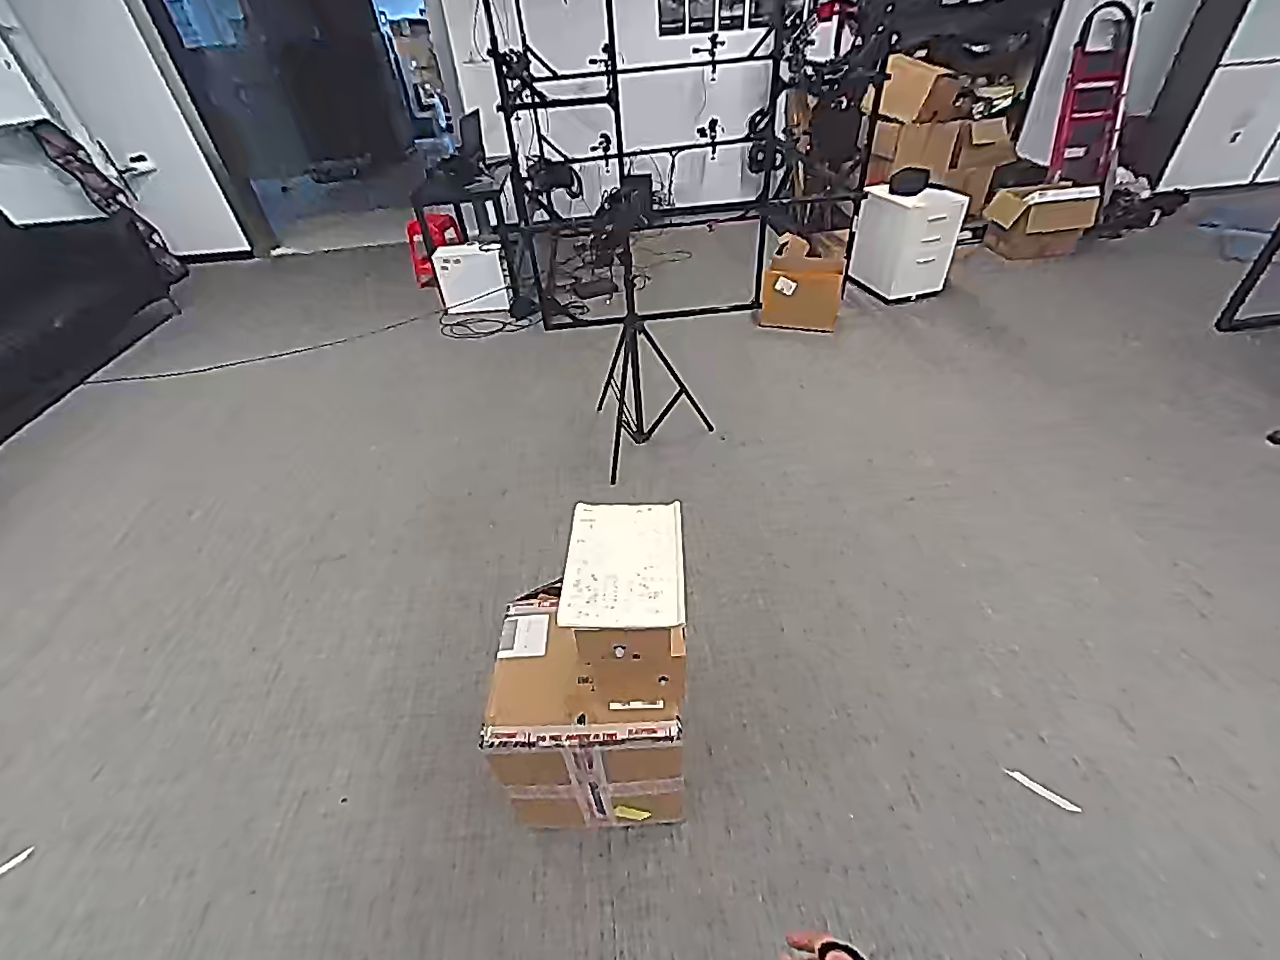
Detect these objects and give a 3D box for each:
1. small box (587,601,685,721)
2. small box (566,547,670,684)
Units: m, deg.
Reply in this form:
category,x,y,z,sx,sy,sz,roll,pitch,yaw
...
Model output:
category,x,y,z,sx,sy,sz,roll,pitch,yaw
small box,-0.009,0.360,1.071,0.179,0.176,0.168,-3,41,-1
small box,-0.032,0.239,0.960,0.168,0.176,0.179,0,42,2
